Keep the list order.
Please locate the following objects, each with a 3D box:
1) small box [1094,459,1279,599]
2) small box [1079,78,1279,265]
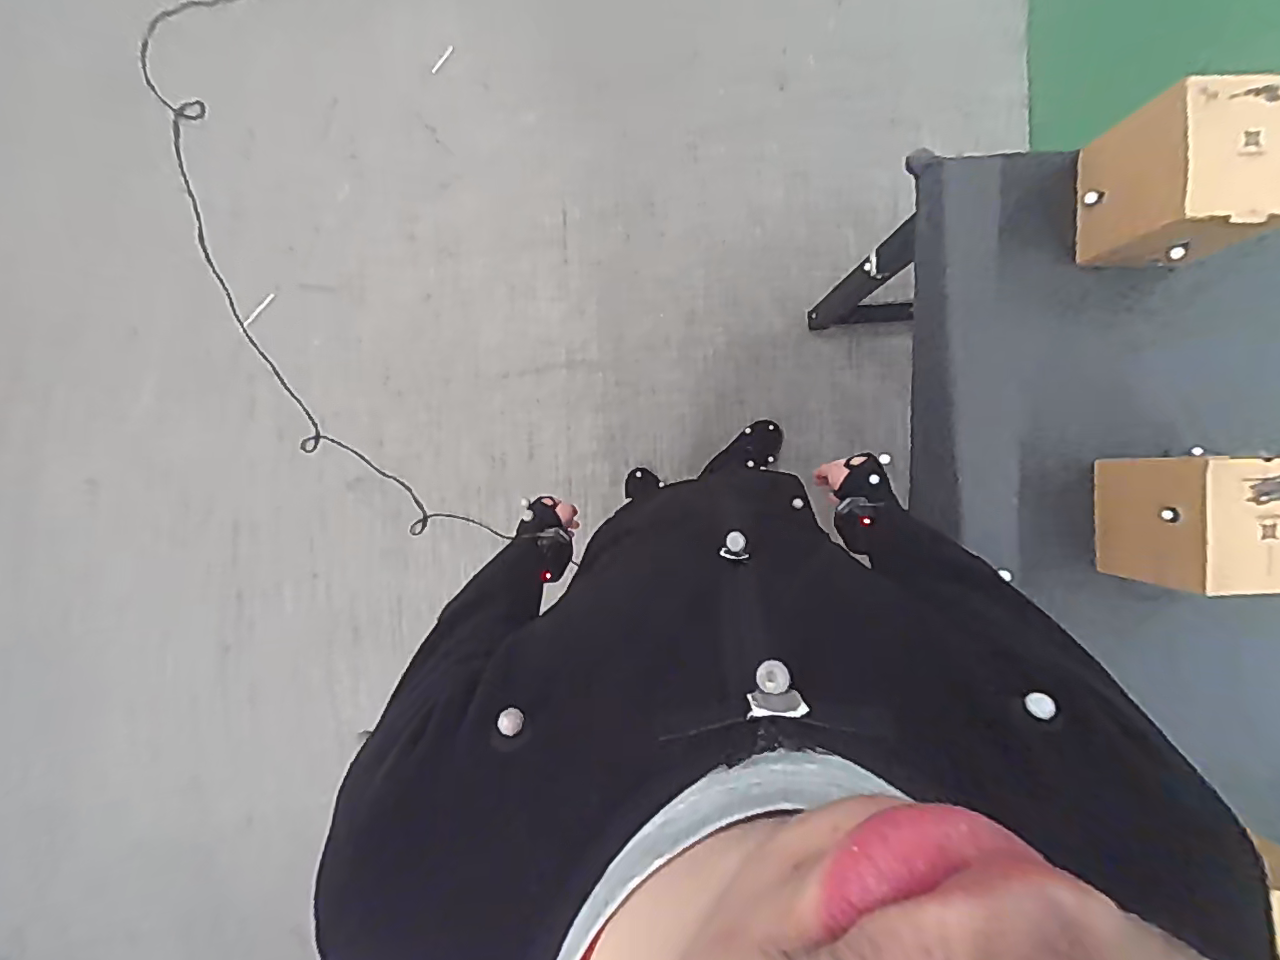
[{"bbox_3d":[0.783,0.059,0.755,0.168,0.176,0.179,-1,92,0],"label":"small box"},{"bbox_3d":[0.749,-0.407,0.742,0.168,0.176,0.179,0,92,-1],"label":"small box"}]
